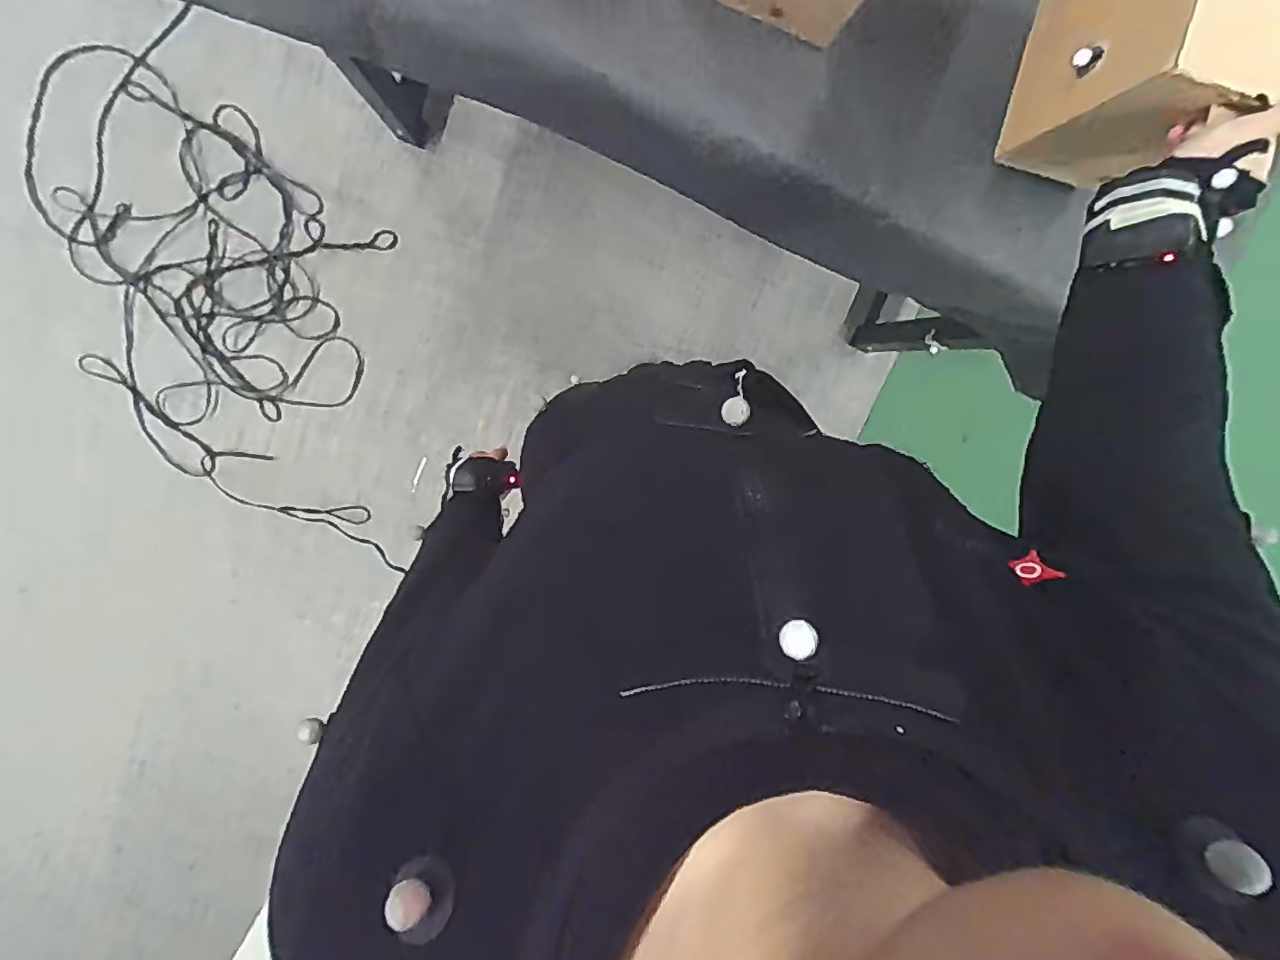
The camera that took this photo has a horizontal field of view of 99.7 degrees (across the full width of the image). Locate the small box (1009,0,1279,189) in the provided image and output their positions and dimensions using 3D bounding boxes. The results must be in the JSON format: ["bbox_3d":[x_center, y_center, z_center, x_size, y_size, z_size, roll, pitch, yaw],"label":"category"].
[{"bbox_3d":[0.454,-0.371,0.448,0.168,0.176,0.179,9,99,-9],"label":"small box"}]
